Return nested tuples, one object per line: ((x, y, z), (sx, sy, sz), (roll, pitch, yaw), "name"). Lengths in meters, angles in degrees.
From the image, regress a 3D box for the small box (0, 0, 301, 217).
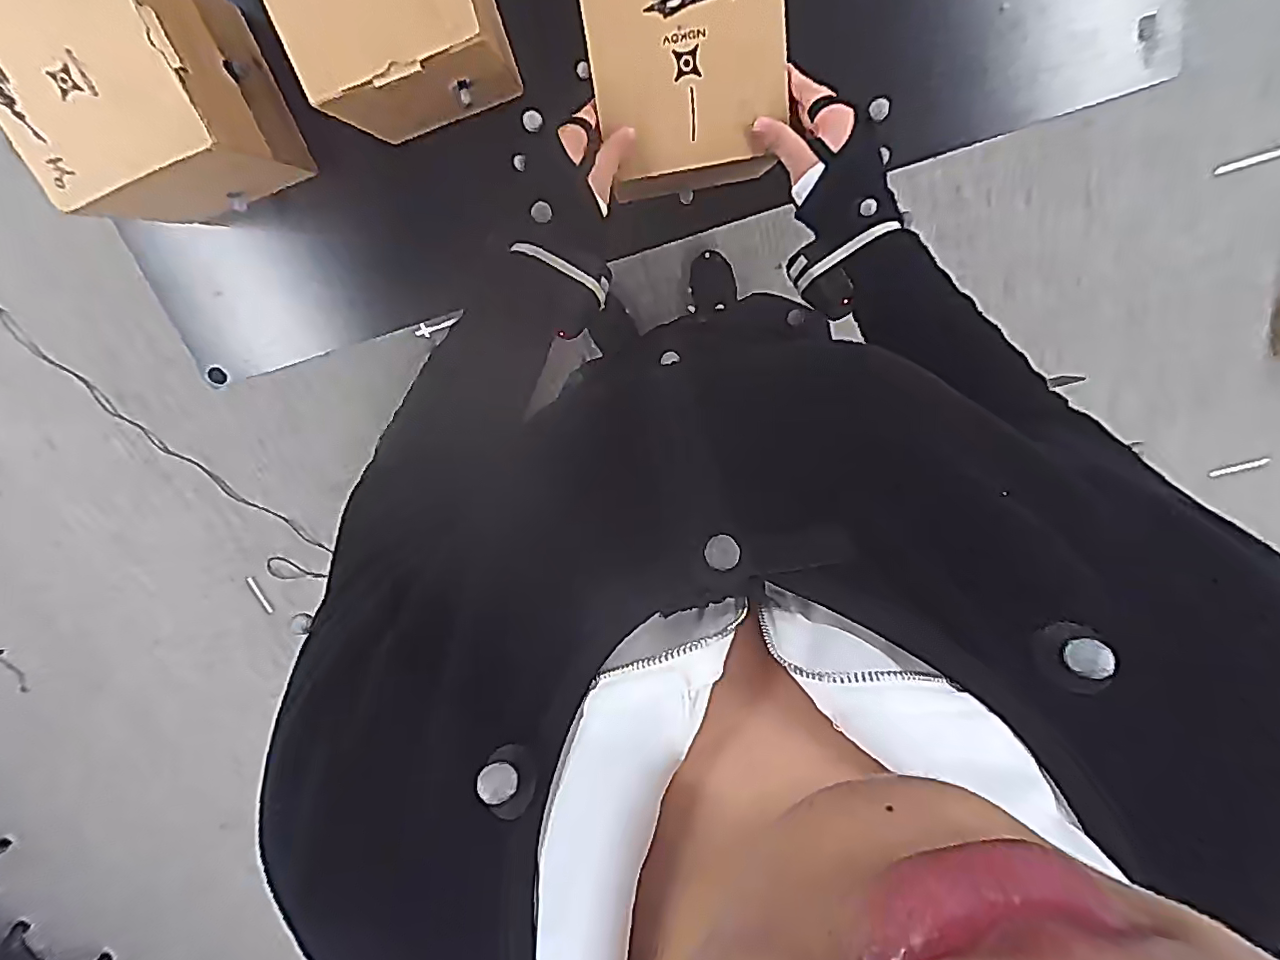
((-0.479, -0.378, 0.535), (0.179, 0.176, 0.168), (-18, 111, 6), "small box")

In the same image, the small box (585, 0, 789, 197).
((0.040, -0.391, 0.525), (0.168, 0.176, 0.179), (-8, 113, 4), "small box")

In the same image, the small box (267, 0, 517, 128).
((-0.231, -0.456, 0.503), (0.168, 0.176, 0.179), (-17, 110, 6), "small box")

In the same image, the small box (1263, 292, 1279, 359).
((1.679, -0.382, 1.300), (0.168, 0.176, 0.179), (-15, 112, 8), "small box")
